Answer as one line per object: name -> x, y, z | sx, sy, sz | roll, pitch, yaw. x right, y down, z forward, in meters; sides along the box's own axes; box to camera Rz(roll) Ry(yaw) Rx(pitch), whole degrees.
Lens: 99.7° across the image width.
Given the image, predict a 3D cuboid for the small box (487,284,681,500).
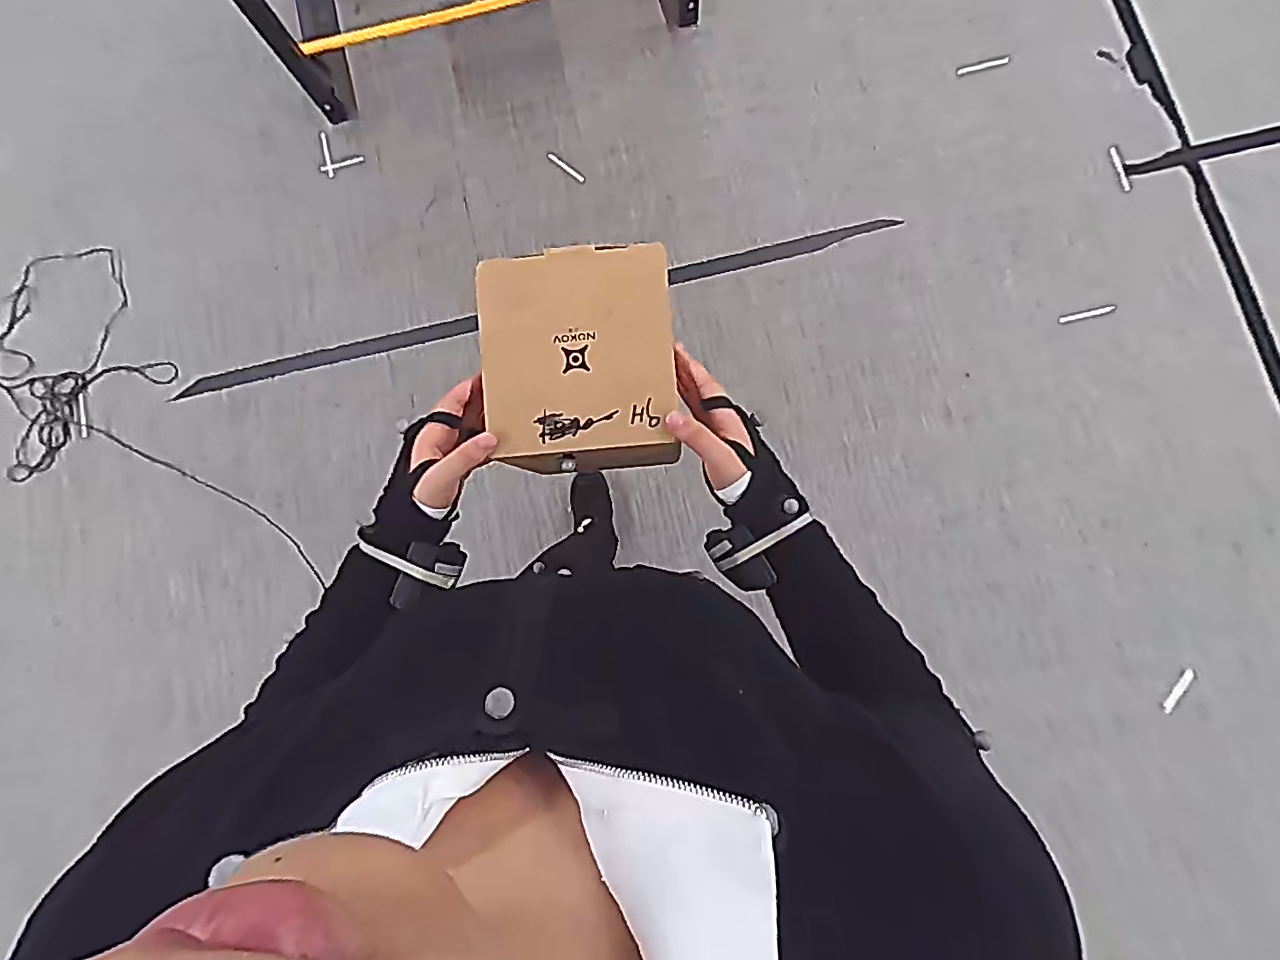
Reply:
small box -> -0.048, -0.075, 0.552 | 0.168, 0.176, 0.179 | -4, 85, 3
